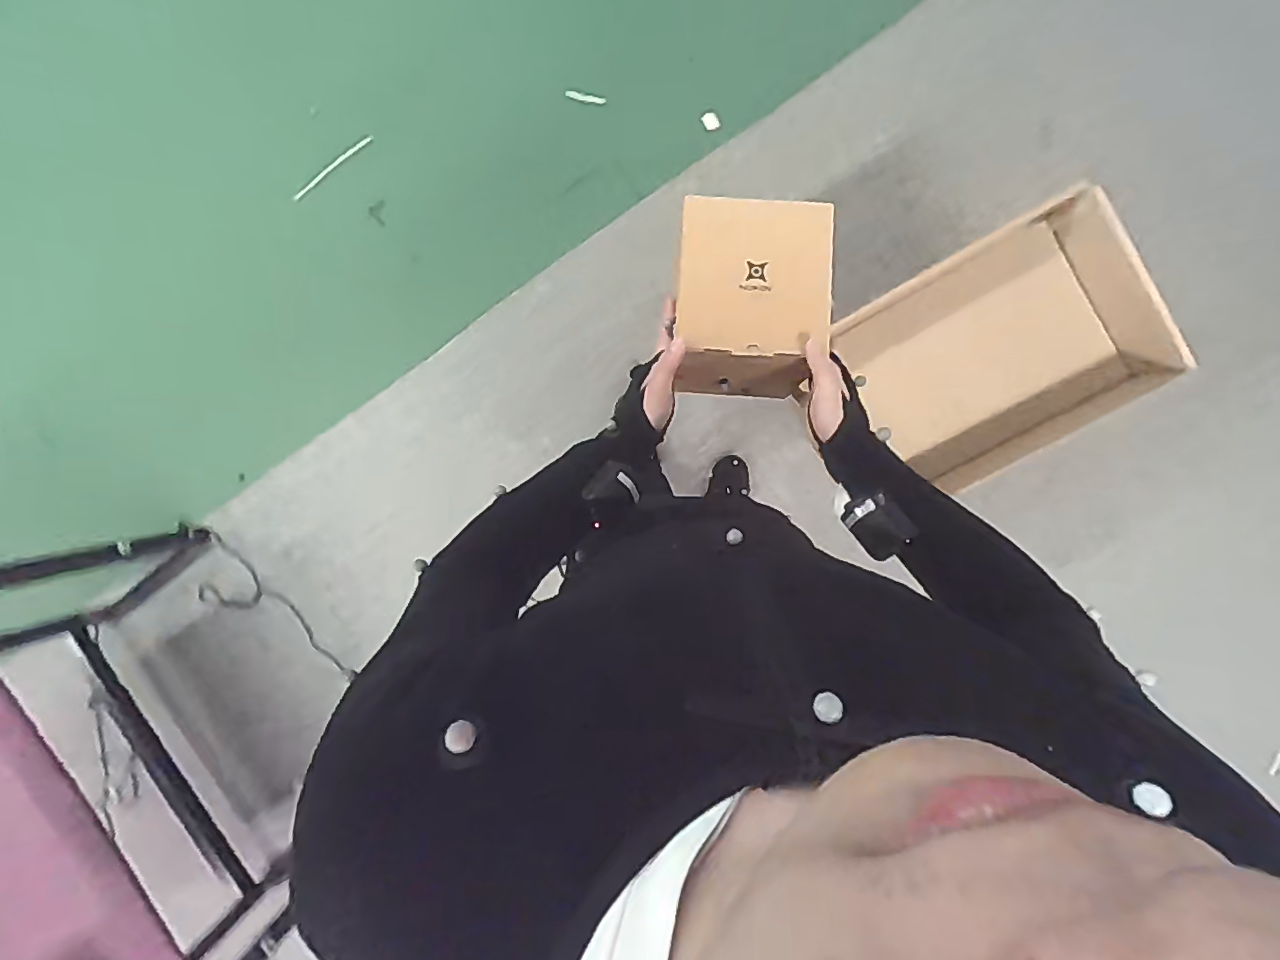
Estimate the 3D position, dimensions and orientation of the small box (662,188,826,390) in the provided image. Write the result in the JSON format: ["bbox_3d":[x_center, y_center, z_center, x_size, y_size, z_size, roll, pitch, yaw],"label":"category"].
[{"bbox_3d":[0.115,-0.218,0.656,0.168,0.176,0.179,3,86,0],"label":"small box"}]
